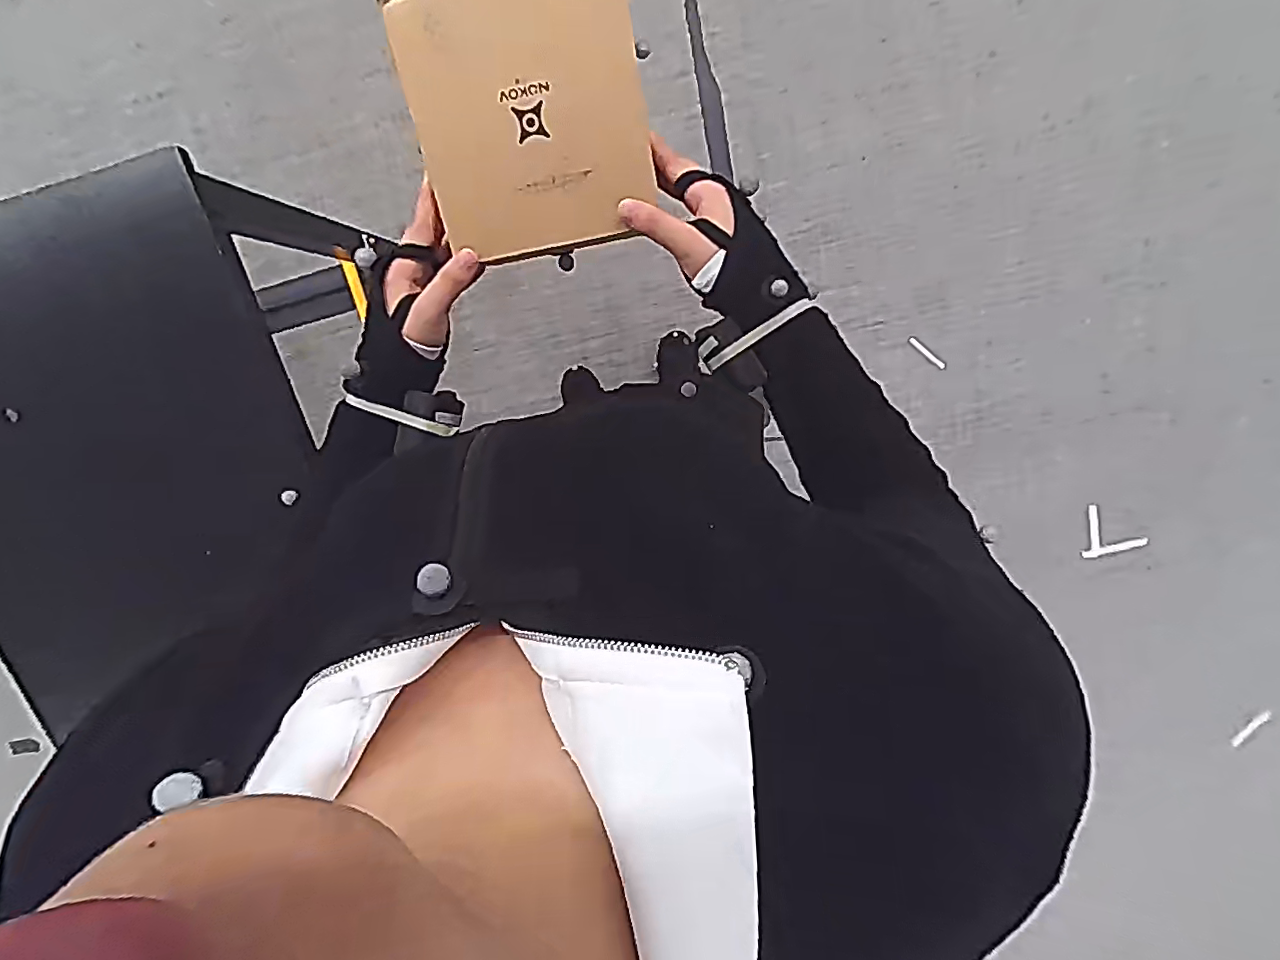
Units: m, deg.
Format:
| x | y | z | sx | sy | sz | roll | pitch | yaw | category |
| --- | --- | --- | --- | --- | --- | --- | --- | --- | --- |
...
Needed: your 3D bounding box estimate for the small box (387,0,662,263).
| x | y | z | sx | sy | sz | roll | pitch | yaw | category |
| --- | --- | --- | --- | --- | --- | --- | --- | --- | --- |
| -0.078 | -0.290 | 0.461 | 0.168 | 0.176 | 0.179 | -9 | 113 | 4 | small box |
